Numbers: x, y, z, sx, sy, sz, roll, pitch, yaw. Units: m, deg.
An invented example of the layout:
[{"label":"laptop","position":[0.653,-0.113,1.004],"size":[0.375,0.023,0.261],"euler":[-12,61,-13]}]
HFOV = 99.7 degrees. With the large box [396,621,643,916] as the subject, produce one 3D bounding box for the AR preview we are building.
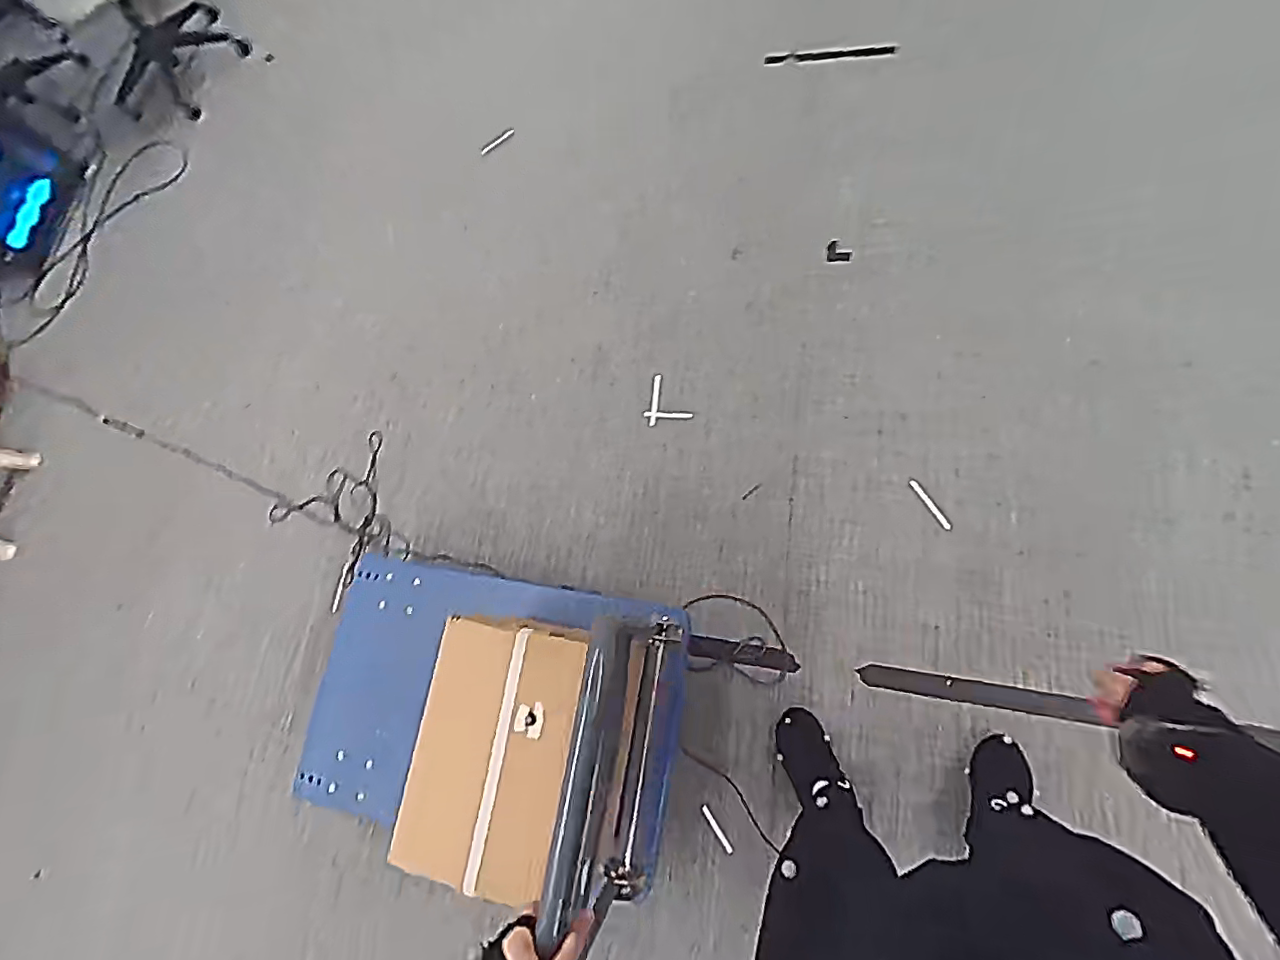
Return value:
[{"label":"large box","position":[-0.200,0.506,1.046],"size":[0.320,0.320,0.408],"euler":[6,75,14]}]
